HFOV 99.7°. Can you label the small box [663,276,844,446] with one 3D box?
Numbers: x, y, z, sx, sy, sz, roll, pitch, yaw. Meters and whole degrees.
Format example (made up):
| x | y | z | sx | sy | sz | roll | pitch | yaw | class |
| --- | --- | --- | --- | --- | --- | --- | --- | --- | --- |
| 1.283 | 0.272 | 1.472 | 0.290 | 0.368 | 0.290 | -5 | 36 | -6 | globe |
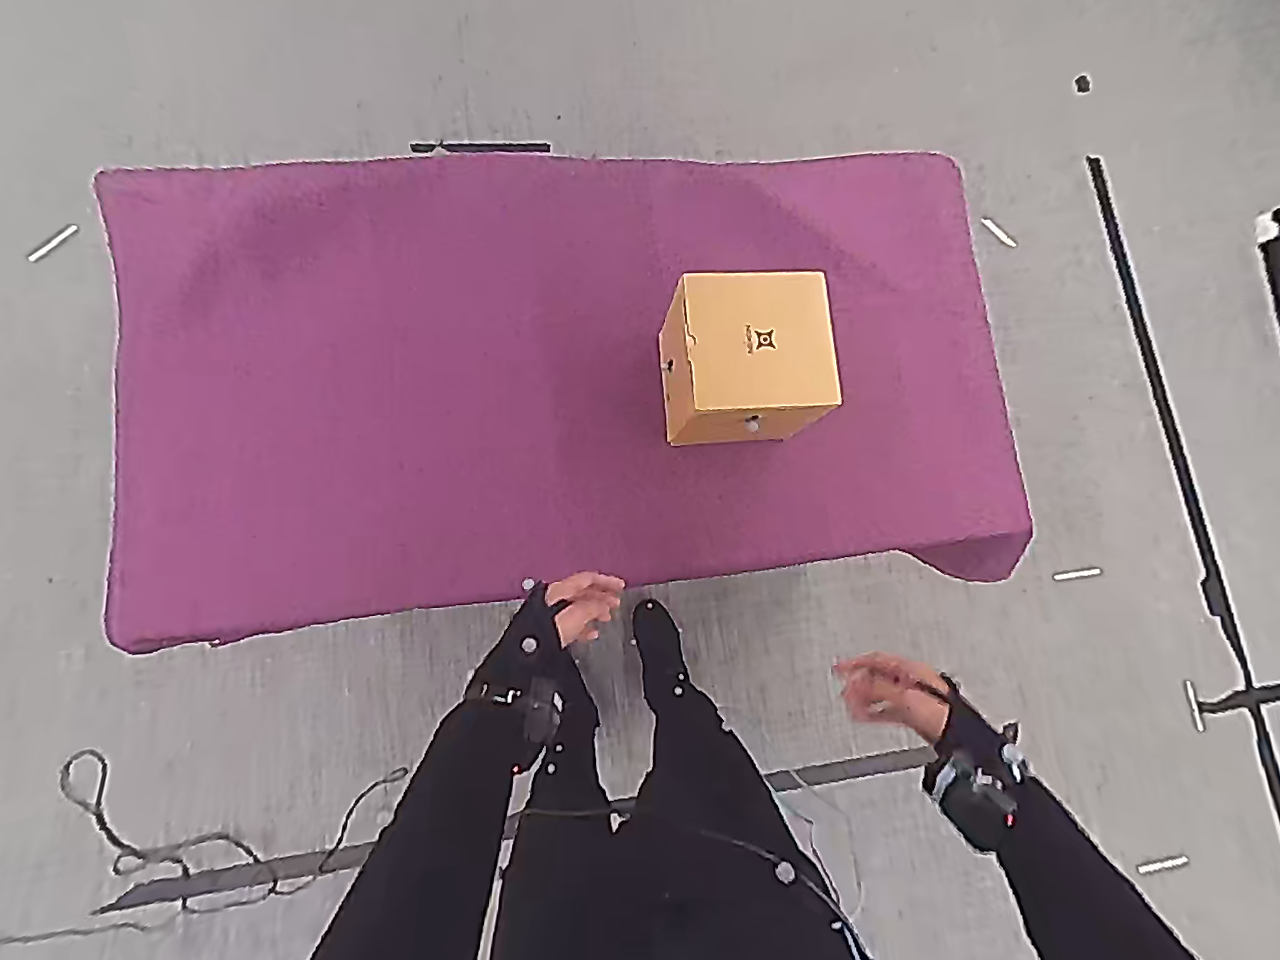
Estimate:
| x | y | z | sx | sy | sz | roll | pitch | yaw | class |
| --- | --- | --- | --- | --- | --- | --- | --- | --- | --- |
| 0.132 | -0.142 | 0.691 | 0.179 | 0.176 | 0.168 | -4 | 82 | -6 | small box |
